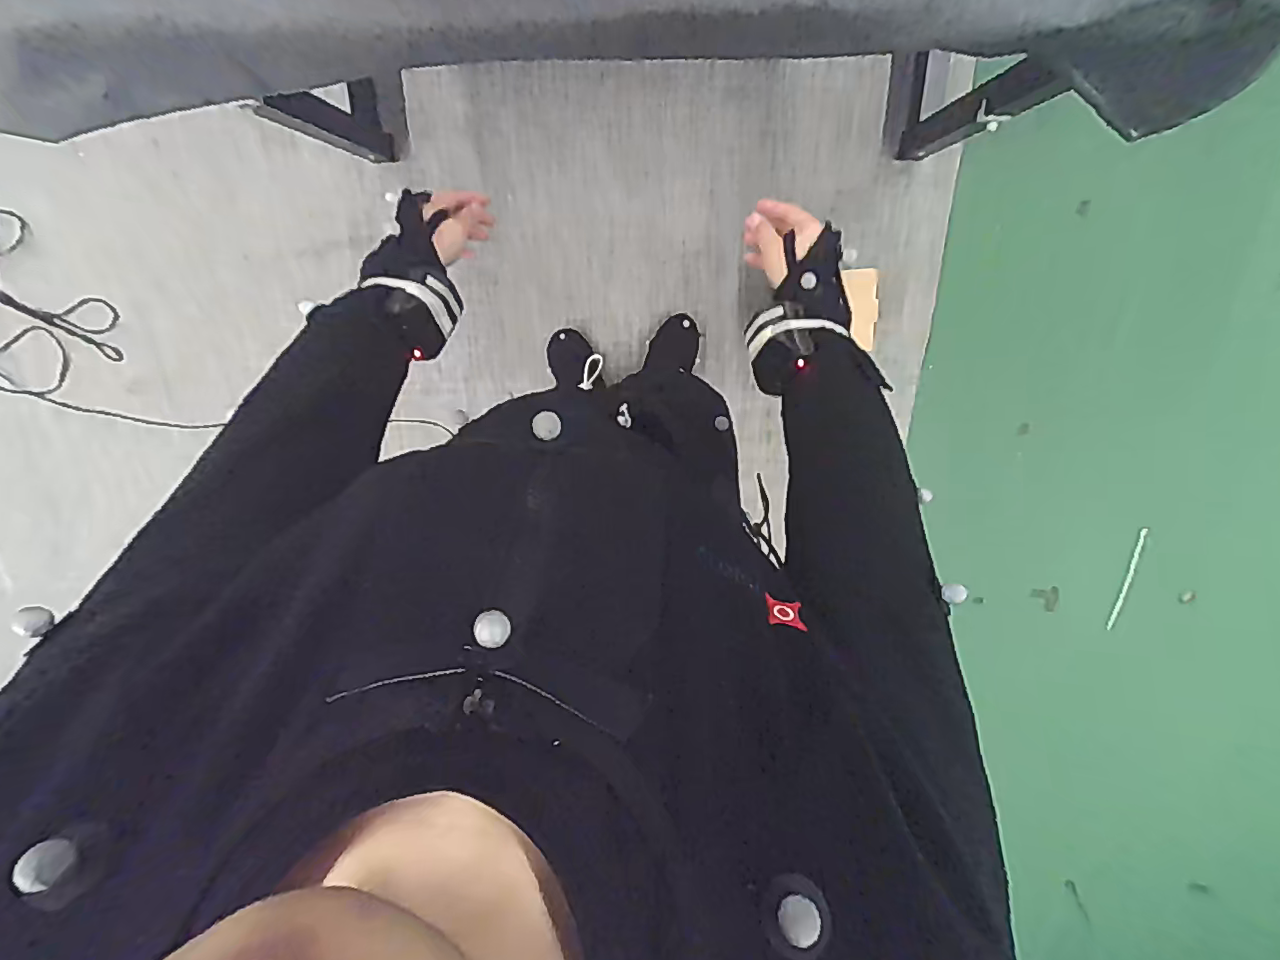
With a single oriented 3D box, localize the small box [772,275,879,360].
[{"bbox_3d":[0.395,-0.356,1.179,0.179,0.176,0.168,-2,109,3],"label":"small box"}]
